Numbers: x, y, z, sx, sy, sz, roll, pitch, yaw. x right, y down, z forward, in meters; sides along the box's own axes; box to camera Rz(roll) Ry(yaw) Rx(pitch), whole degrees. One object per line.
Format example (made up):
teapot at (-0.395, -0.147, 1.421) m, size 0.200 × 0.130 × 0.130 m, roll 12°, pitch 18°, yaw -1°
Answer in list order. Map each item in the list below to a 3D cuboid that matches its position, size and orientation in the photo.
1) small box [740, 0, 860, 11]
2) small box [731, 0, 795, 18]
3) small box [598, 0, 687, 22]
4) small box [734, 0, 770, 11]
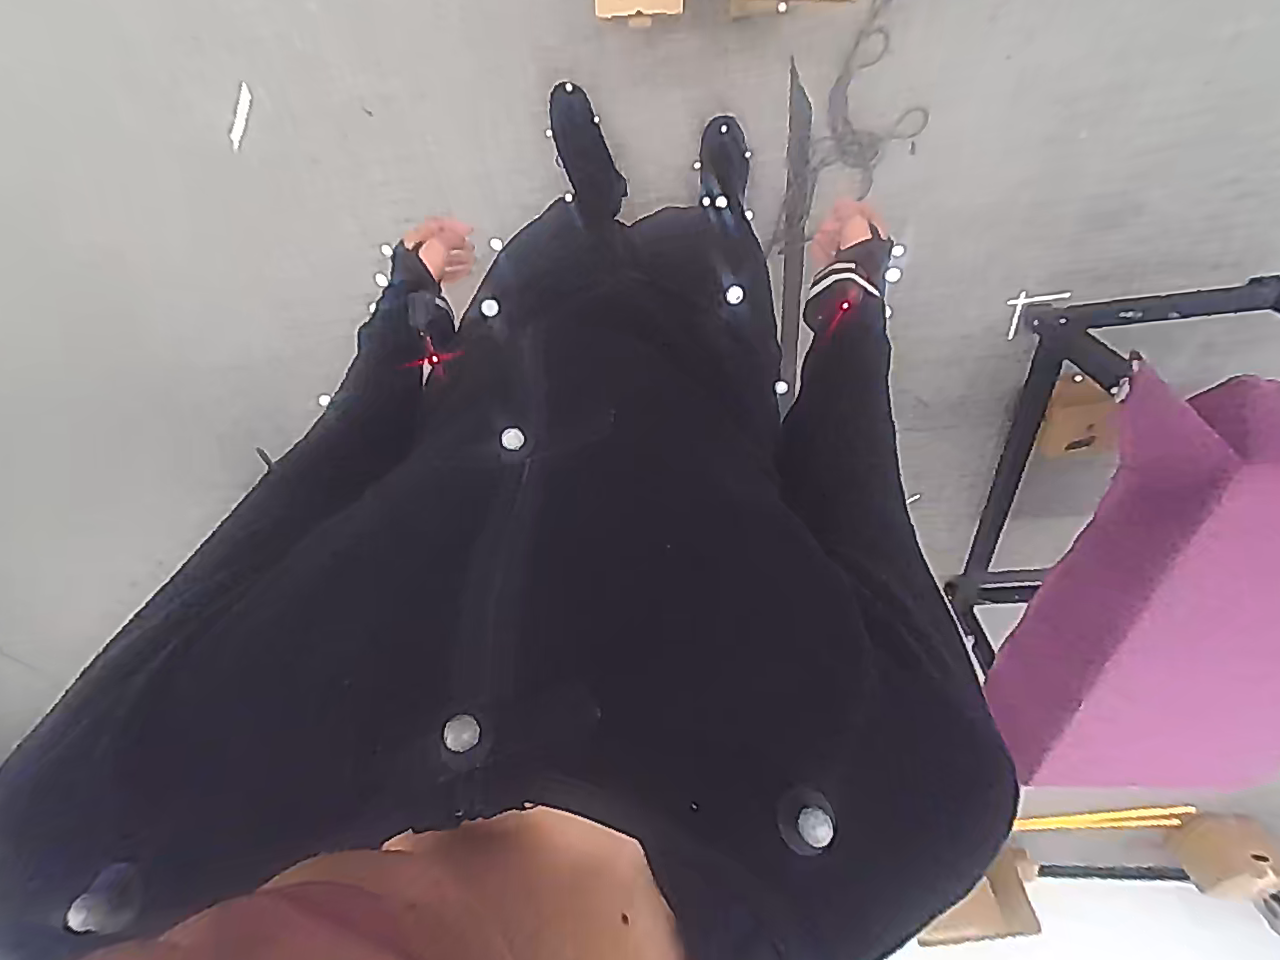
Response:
small box at (0.229, -0.771, 0.744) m, size 0.168 × 0.176 × 0.179 m, roll 4°, pitch 128°, yaw 2°
small box at (0.253, -0.978, 0.995) m, size 0.168 × 0.176 × 0.179 m, roll -3°, pitch 129°, yaw 8°
small box at (0.006, -0.980, 1.012) m, size 0.168 × 0.176 × 0.179 m, roll 1°, pitch 129°, yaw 5°
small box at (0.242, -0.876, 0.870) m, size 0.179 × 0.176 × 0.168 m, roll -2°, pitch 128°, yaw 7°
